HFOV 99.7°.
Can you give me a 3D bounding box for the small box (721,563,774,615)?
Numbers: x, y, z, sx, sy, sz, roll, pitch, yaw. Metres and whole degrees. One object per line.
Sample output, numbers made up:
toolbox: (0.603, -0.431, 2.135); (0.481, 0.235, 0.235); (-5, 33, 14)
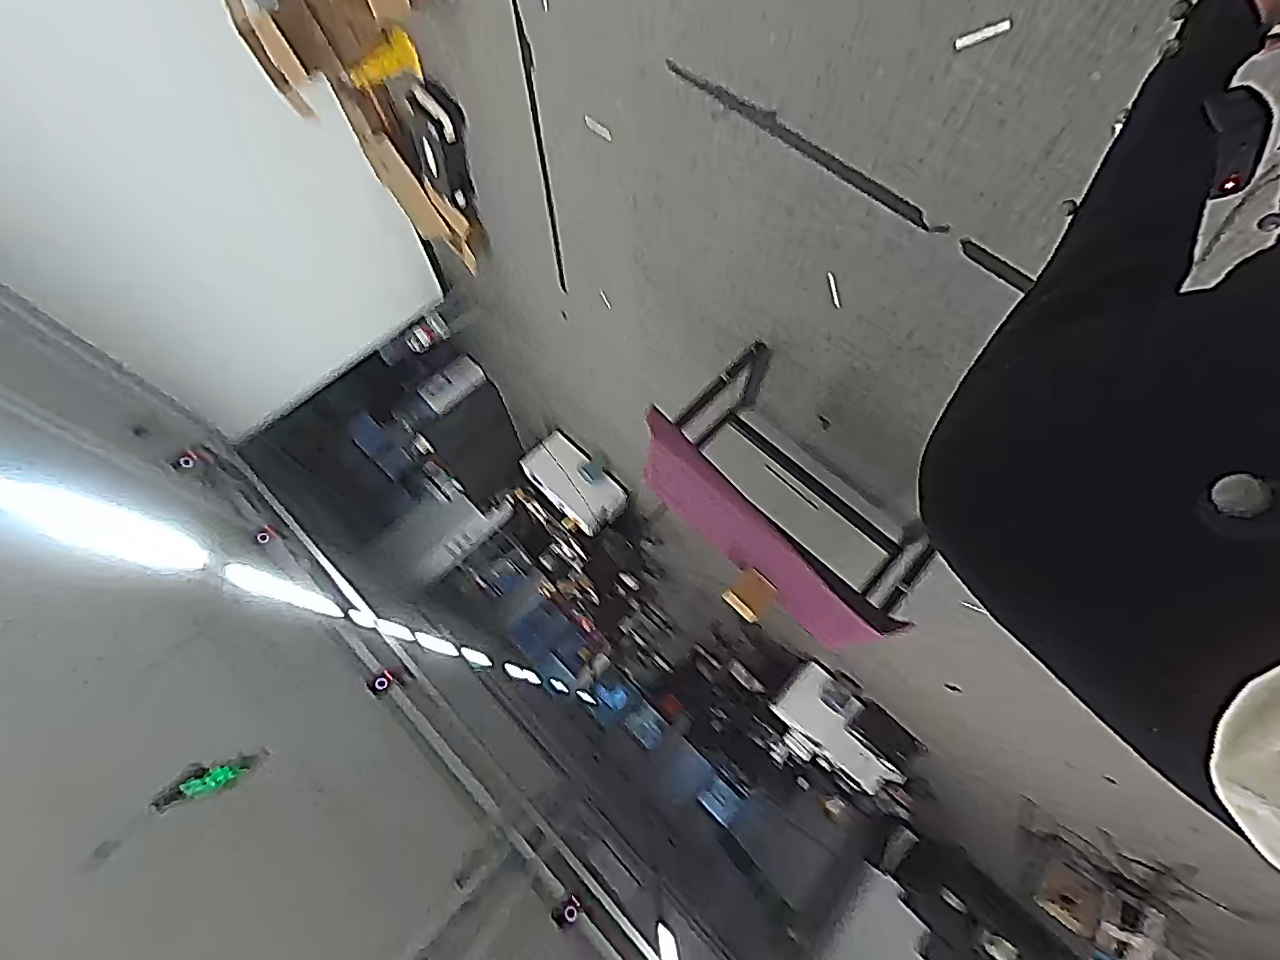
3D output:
small box: (0.521, 0.524, 2.602); (0.168, 0.176, 0.179); (43, 163, 12)
